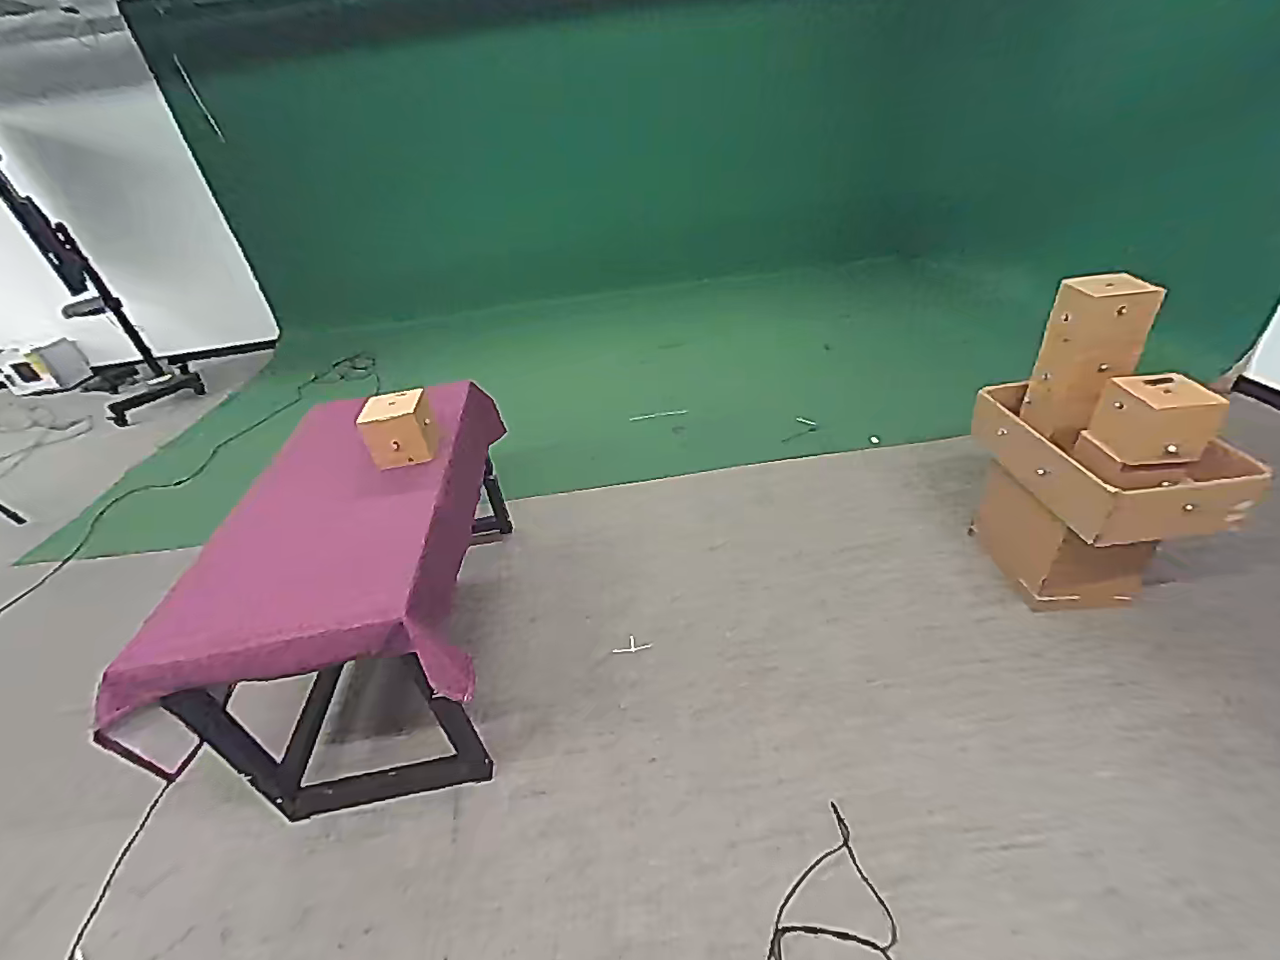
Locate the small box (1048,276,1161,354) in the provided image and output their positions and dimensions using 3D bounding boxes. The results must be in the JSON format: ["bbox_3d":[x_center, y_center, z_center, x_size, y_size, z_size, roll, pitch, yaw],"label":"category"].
[{"bbox_3d":[1.323,-0.474,1.561,0.179,0.176,0.168,-4,36,6],"label":"small box"}]

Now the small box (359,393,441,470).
[{"bbox_3d":[-0.726,-0.143,1.658,0.168,0.176,0.179,-11,35,-3],"label":"small box"}]

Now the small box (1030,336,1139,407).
[{"bbox_3d":[1.345,-0.337,1.652,0.179,0.176,0.168,-5,35,6],"label":"small box"}]

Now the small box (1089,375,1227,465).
[{"bbox_3d":[1.318,-0.155,1.395,0.168,0.176,0.179,-4,35,7],"label":"small box"}]
